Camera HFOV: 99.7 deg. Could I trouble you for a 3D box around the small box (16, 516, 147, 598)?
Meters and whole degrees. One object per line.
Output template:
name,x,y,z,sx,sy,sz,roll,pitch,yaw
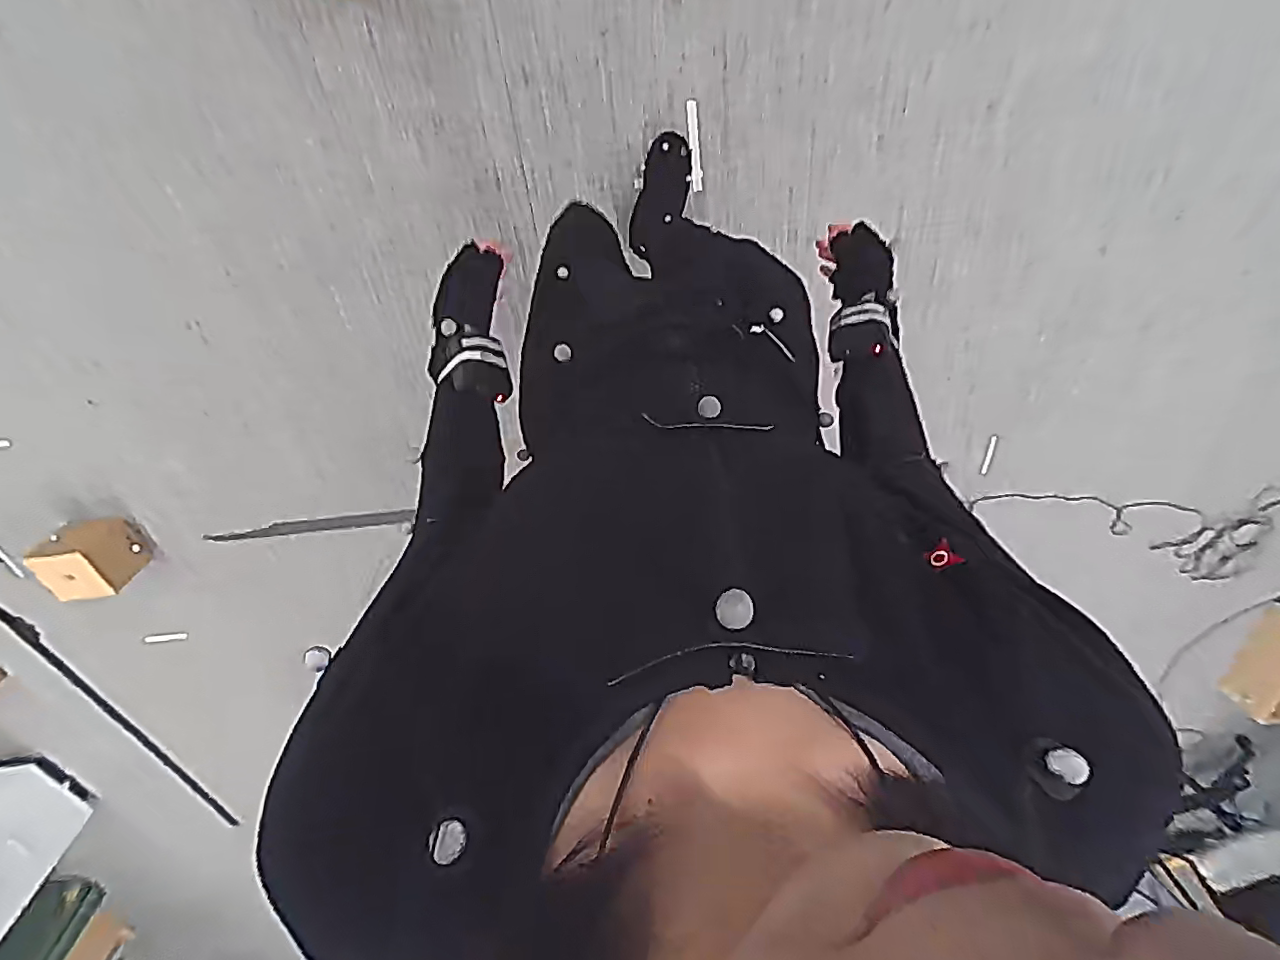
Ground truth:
small box,-1.654,0.227,1.615,0.179,0.176,0.168,-7,124,0
